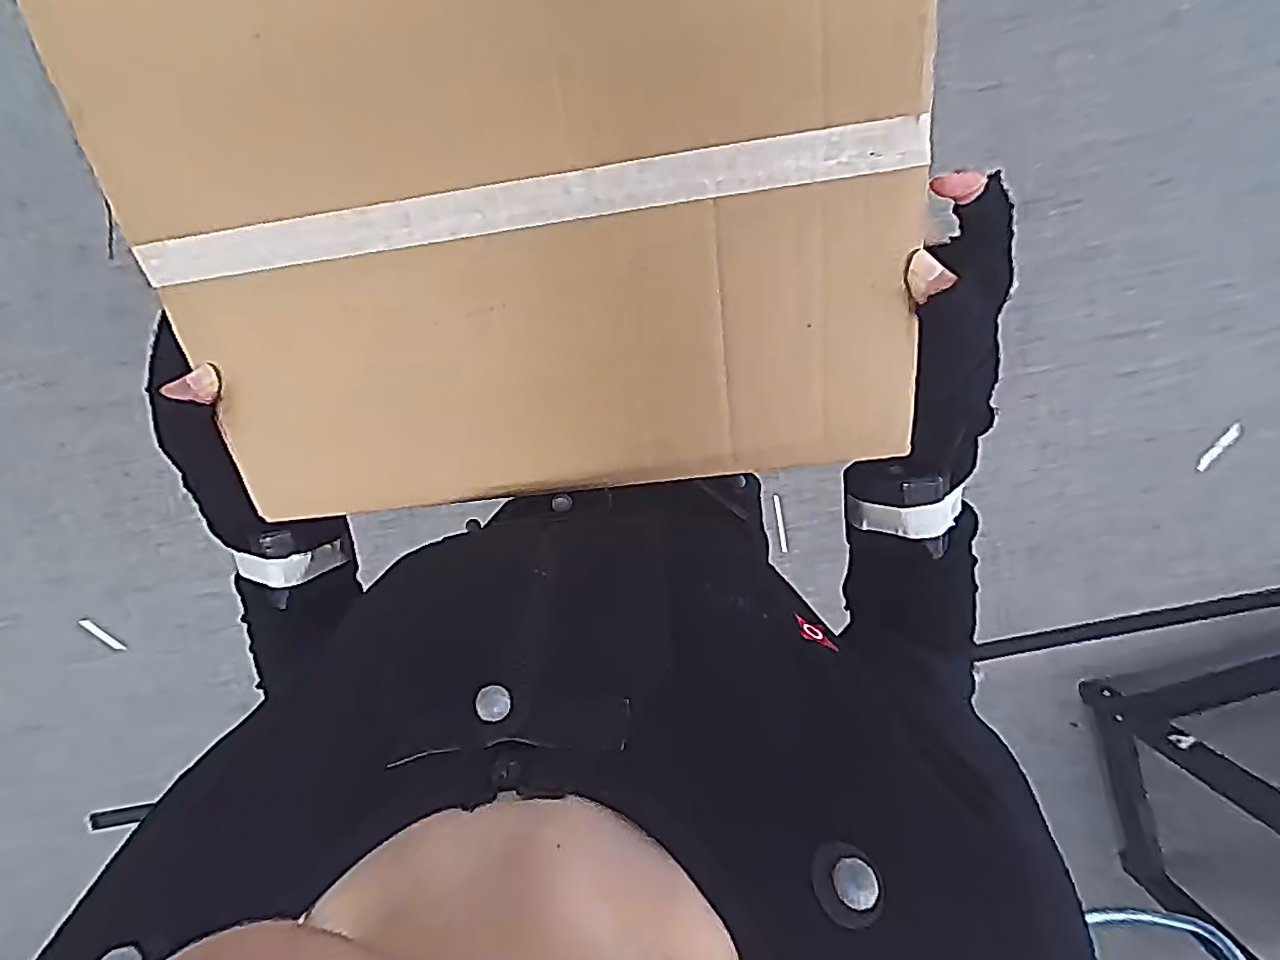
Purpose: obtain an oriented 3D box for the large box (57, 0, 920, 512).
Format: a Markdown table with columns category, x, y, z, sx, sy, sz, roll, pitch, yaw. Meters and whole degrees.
| category | x | y | z | sx | sy | sz | roll | pitch | yaw |
| --- | --- | --- | --- | --- | --- | --- | --- | --- | --- |
| large box | -0.058 | -0.198 | 0.419 | 0.408 | 0.320 | 0.320 | -6 | 114 | 5 |
